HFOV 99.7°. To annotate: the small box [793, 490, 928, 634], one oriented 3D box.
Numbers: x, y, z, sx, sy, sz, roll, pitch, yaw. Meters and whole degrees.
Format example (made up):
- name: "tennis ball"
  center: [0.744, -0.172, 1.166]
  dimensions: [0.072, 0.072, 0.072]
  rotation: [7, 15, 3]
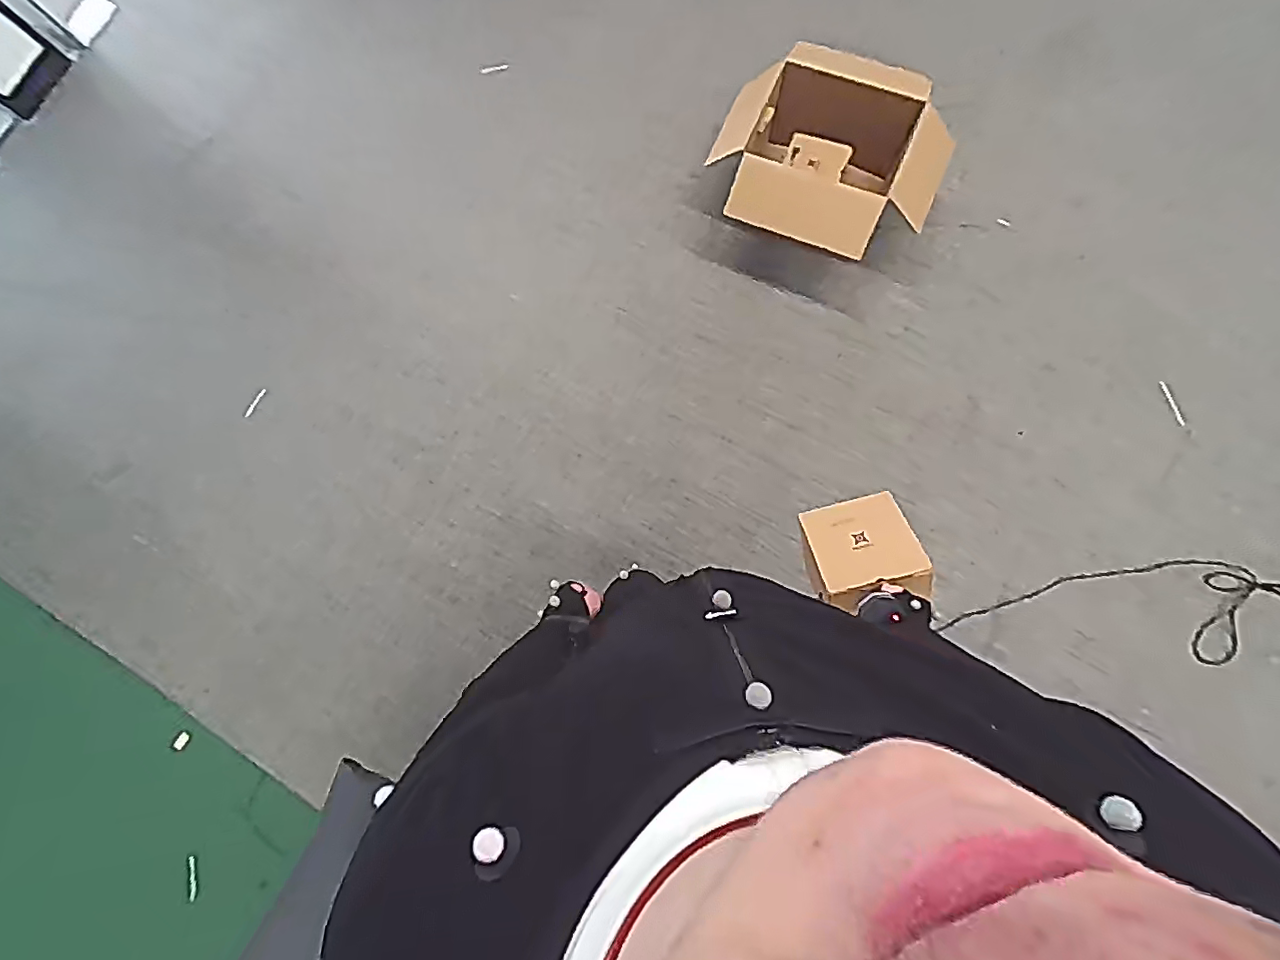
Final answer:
- name: "small box"
  center: [0.379, 0.151, 0.950]
  dimensions: [0.168, 0.176, 0.179]
  rotation: [-14, 43, 6]
